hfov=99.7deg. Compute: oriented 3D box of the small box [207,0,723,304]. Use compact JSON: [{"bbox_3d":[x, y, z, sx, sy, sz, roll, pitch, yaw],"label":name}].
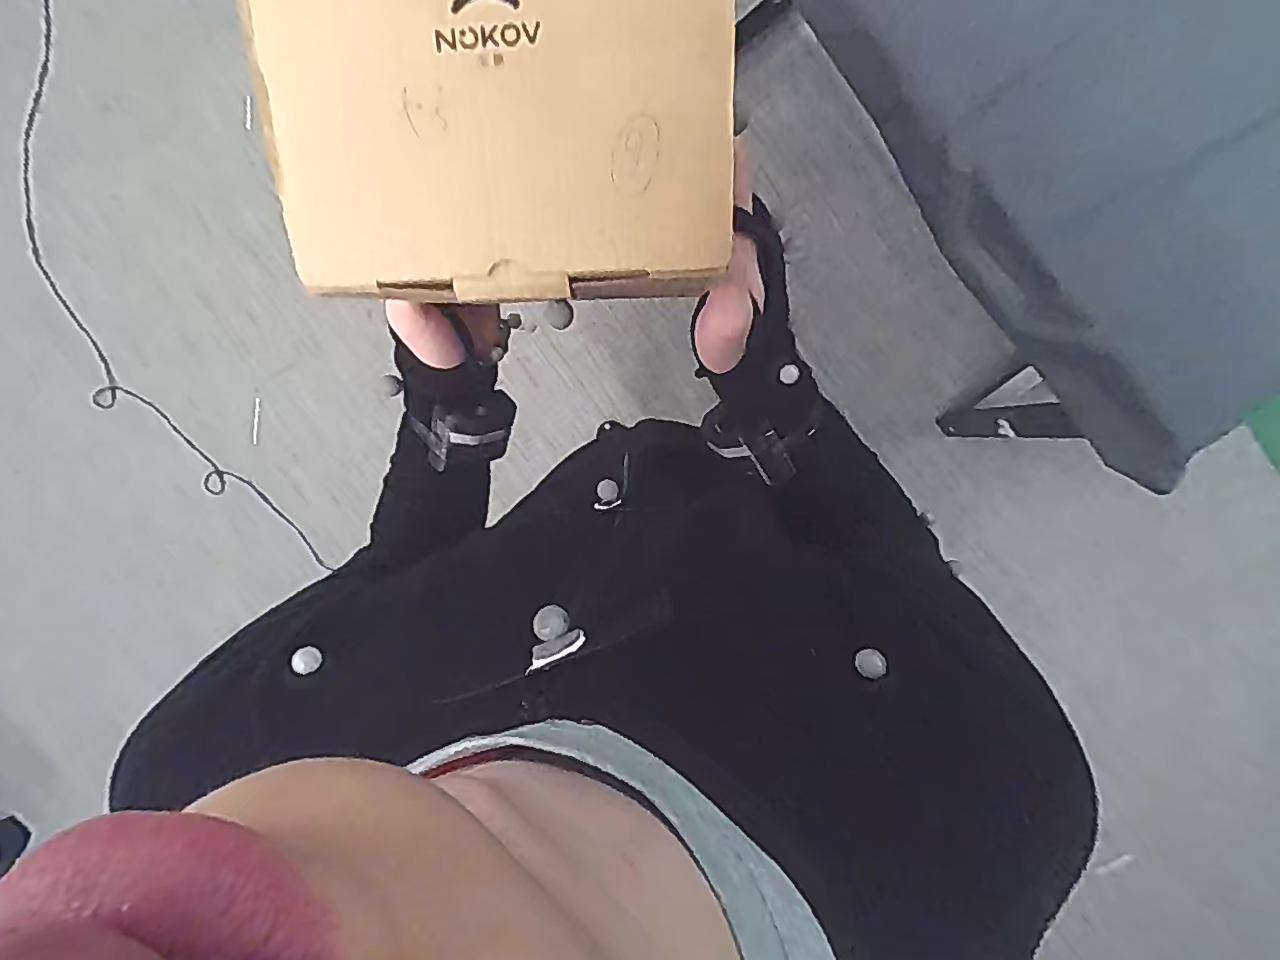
[{"bbox_3d":[-0.053,-0.177,0.245,0.168,0.176,0.179,-2,109,2],"label":"small box"}]
